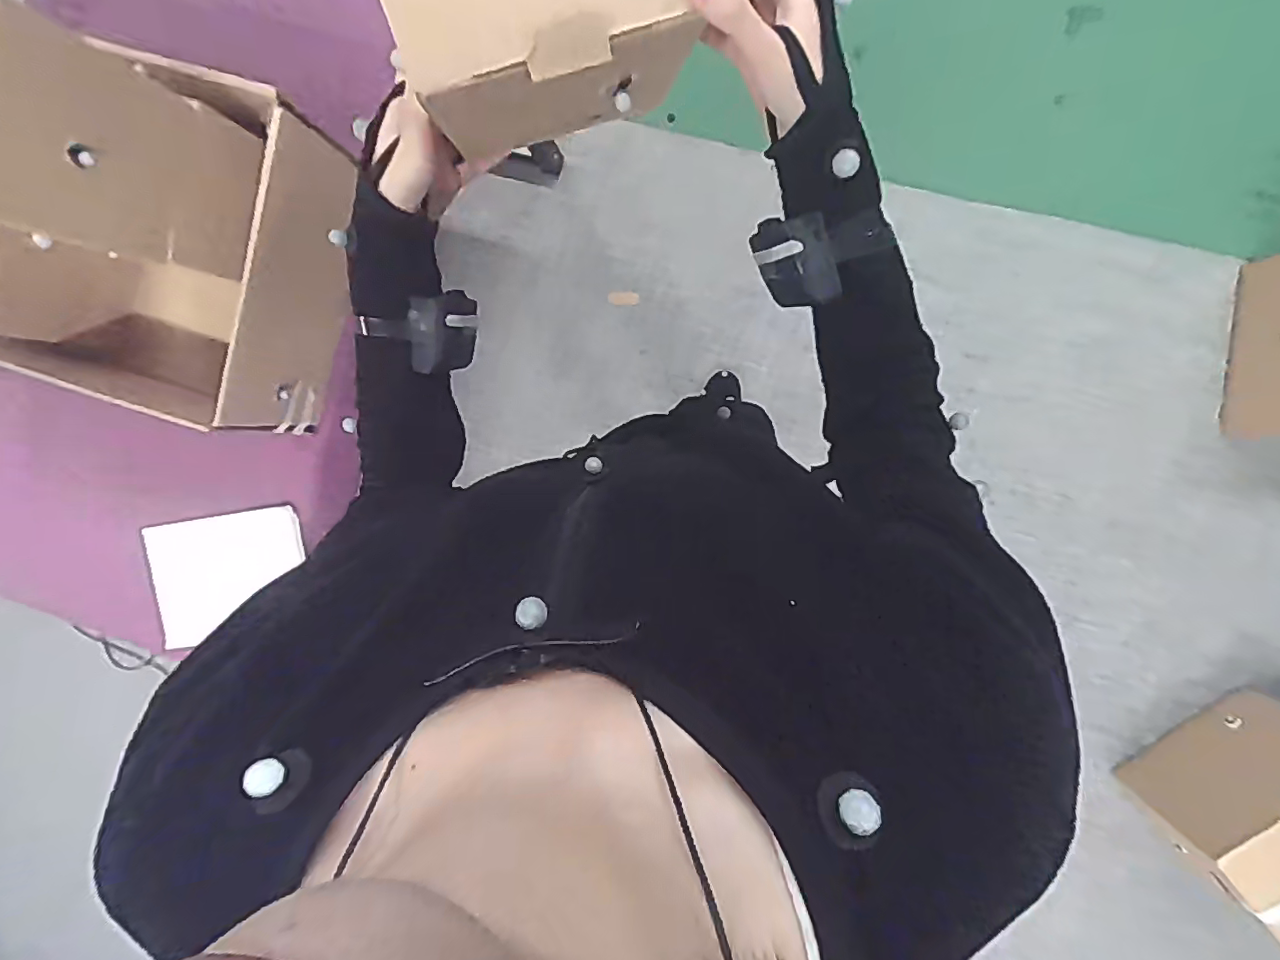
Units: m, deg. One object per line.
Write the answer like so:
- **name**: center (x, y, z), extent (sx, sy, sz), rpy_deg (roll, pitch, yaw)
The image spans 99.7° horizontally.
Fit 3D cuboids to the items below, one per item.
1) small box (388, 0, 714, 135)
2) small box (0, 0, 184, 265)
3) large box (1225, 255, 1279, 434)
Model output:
- **small box**: center (-0.067, -0.330, 0.320), extent (0.168, 0.176, 0.179), rpy_deg (-17, 111, -2)
- **small box**: center (-0.585, -0.330, 0.508), extent (0.168, 0.176, 0.179), rpy_deg (19, 99, 5)
- **large box**: center (1.576, -0.302, 1.158), extent (0.320, 0.320, 0.408), rpy_deg (2, 94, 5)
